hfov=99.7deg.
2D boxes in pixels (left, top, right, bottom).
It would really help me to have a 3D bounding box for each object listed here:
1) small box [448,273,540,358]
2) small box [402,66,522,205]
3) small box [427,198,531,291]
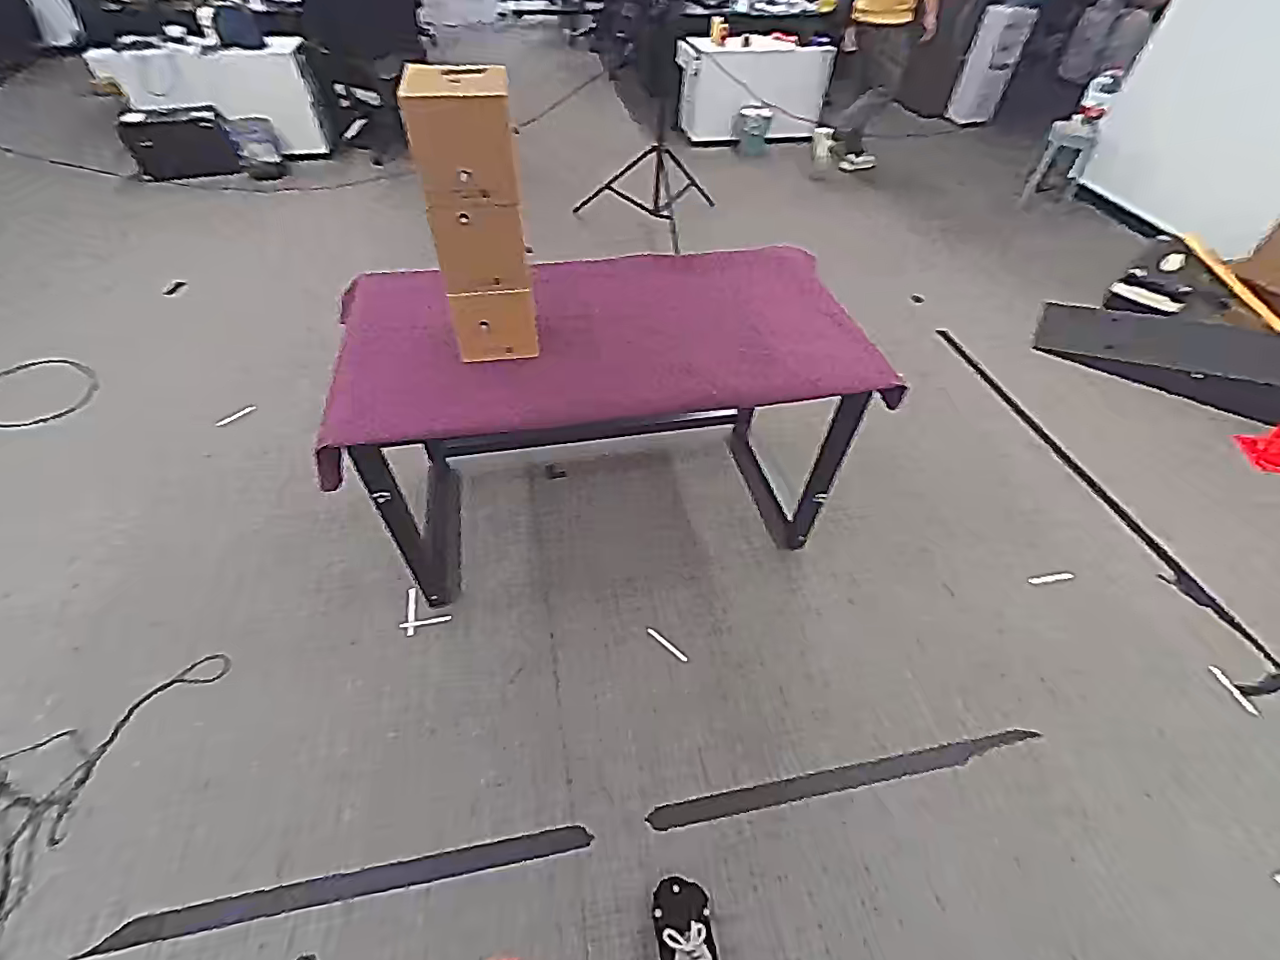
[{"bbox_3d":[-0.316,-0.384,1.195,0.168,0.176,0.179,-7,49,-8],"label":"small box"},{"bbox_3d":[-0.302,-0.603,0.949,0.168,0.176,0.179,-7,50,-8],"label":"small box"},{"bbox_3d":[-0.312,-0.496,1.075,0.168,0.176,0.179,-7,49,-8],"label":"small box"}]
